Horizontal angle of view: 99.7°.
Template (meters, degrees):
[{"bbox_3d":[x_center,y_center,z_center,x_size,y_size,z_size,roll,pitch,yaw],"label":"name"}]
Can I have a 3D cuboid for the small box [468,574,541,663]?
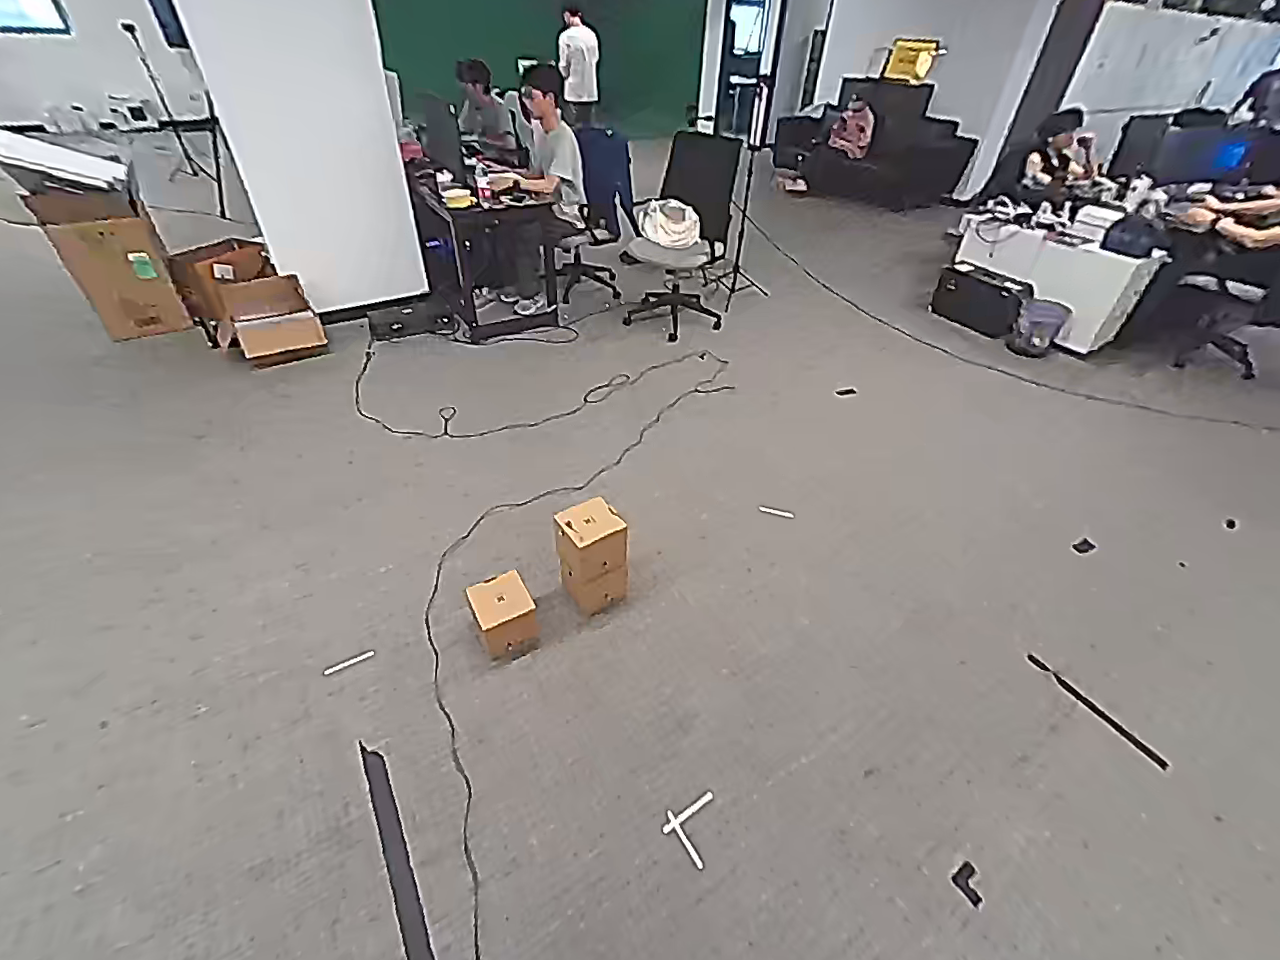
[{"bbox_3d":[-0.421,0.433,1.689,0.168,0.176,0.179,-20,45,-23],"label":"small box"}]

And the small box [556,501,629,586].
[{"bbox_3d":[-0.153,0.202,1.720,0.179,0.176,0.168,-22,45,-27],"label":"small box"}]

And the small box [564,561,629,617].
[{"bbox_3d":[-0.152,0.328,1.827,0.168,0.176,0.179,-23,46,-26],"label":"small box"}]
